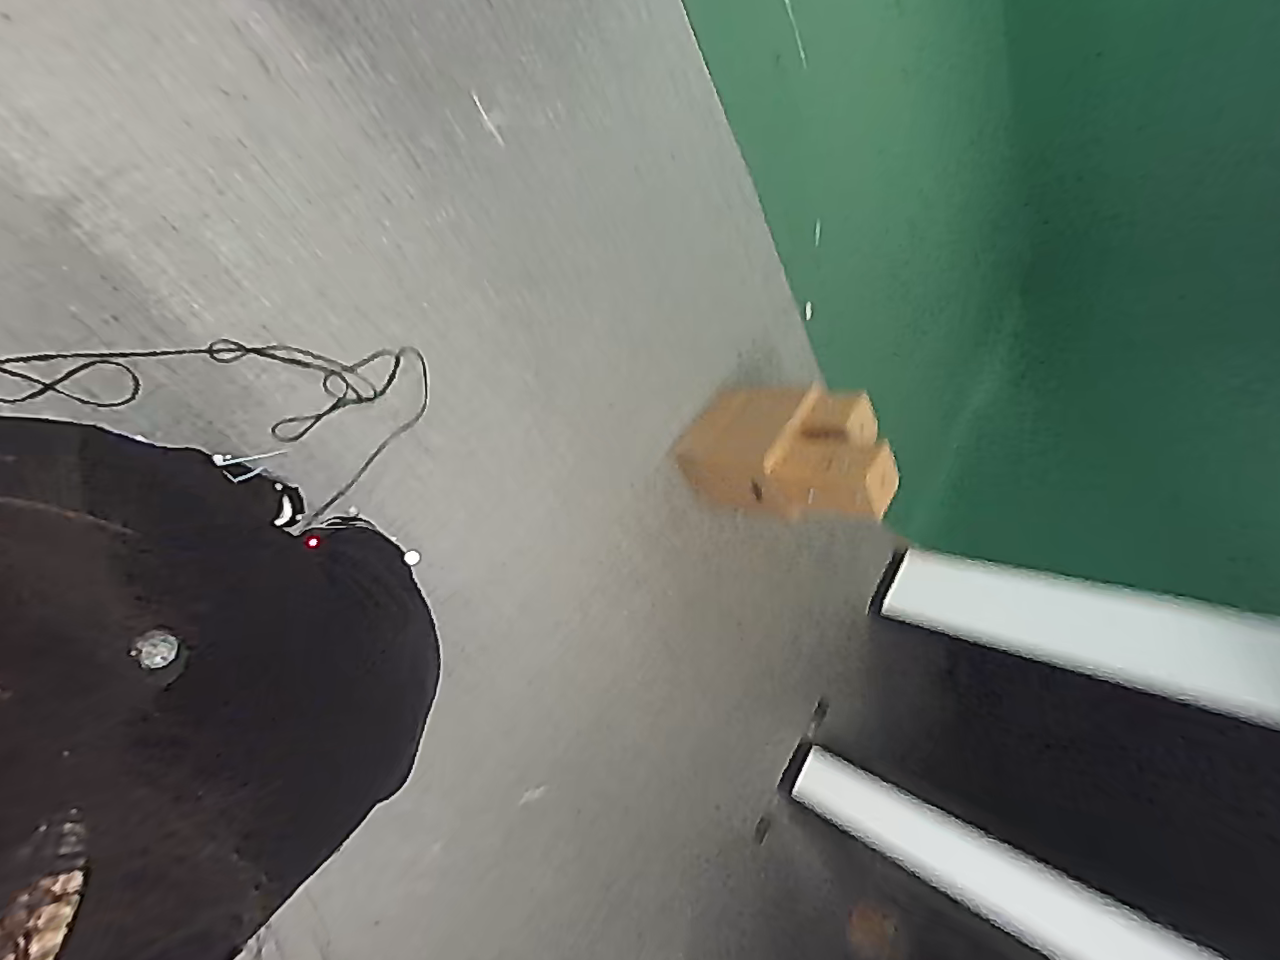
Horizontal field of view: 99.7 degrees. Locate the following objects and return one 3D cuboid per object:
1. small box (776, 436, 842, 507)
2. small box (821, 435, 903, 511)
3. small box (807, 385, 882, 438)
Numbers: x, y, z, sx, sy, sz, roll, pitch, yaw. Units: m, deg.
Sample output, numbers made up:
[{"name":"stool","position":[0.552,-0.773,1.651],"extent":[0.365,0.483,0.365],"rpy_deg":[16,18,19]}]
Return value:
[{"name":"small box","position":[0.591,-0.036,1.822],"extent":[0.168,0.176,0.179],"rpy_deg":[-52,125,-24]},{"name":"small box","position":[0.692,-0.026,1.694],"extent":[0.168,0.176,0.179],"rpy_deg":[-50,125,-24]},{"name":"small box","position":[0.717,-0.212,1.904],"extent":[0.168,0.176,0.179],"rpy_deg":[-50,123,-22]}]
